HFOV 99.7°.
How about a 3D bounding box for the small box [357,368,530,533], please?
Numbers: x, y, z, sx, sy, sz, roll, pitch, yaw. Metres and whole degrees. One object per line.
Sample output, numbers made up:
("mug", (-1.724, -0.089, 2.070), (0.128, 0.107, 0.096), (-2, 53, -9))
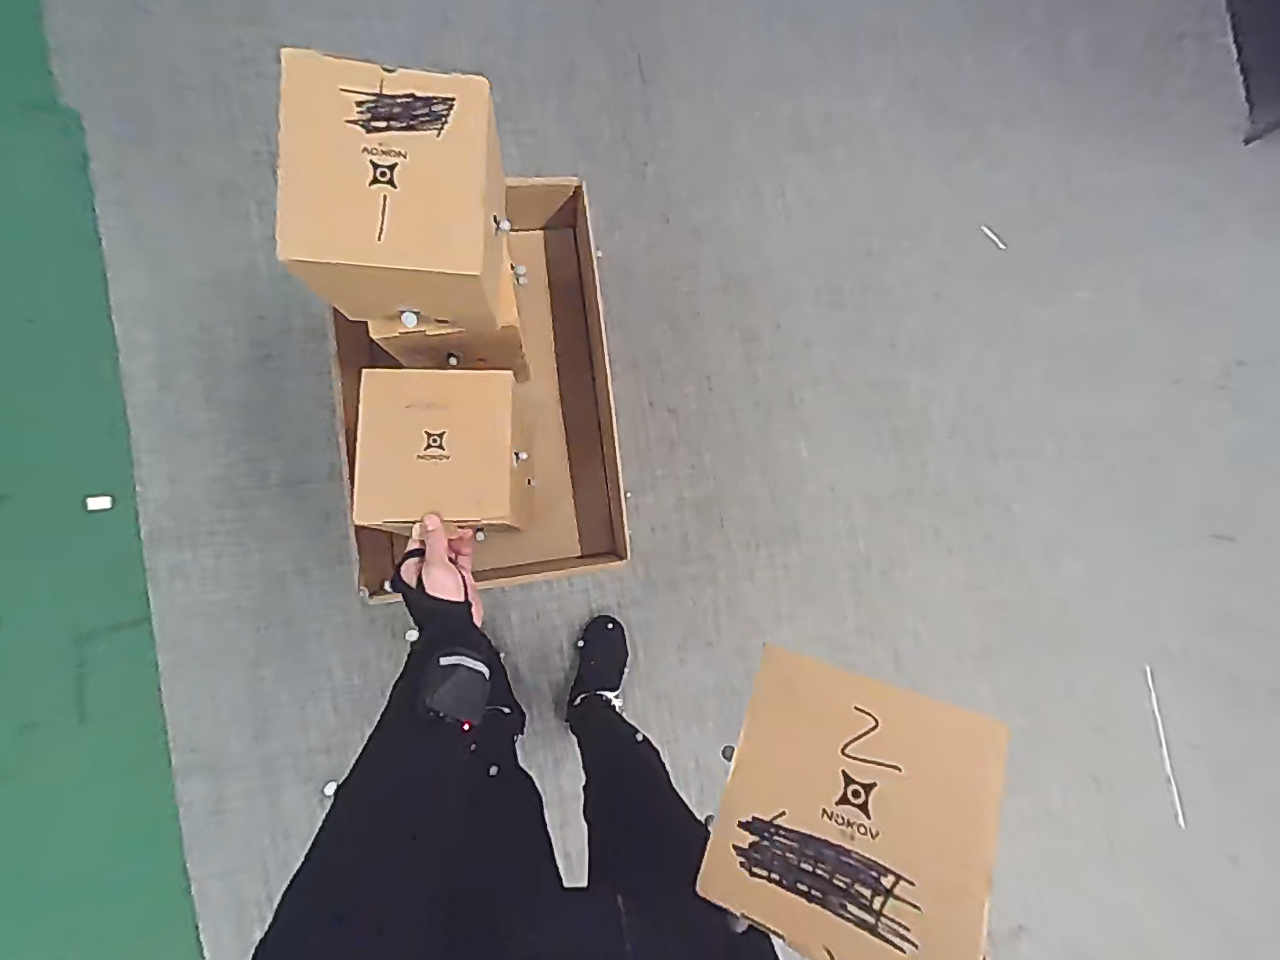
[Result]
("small box", (-0.230, -0.026, 0.678), (0.168, 0.176, 0.179), (1, 79, -6))

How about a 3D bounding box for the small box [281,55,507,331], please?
("small box", (-0.226, -0.265, 0.542), (0.168, 0.176, 0.179), (2, 89, -9))

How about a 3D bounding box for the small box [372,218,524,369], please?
("small box", (-0.246, -0.255, 0.705), (0.168, 0.176, 0.179), (-8, 90, -9))

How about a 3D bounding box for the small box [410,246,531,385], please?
("small box", (-0.269, -0.251, 0.865), (0.168, 0.176, 0.179), (-7, 89, -8))
